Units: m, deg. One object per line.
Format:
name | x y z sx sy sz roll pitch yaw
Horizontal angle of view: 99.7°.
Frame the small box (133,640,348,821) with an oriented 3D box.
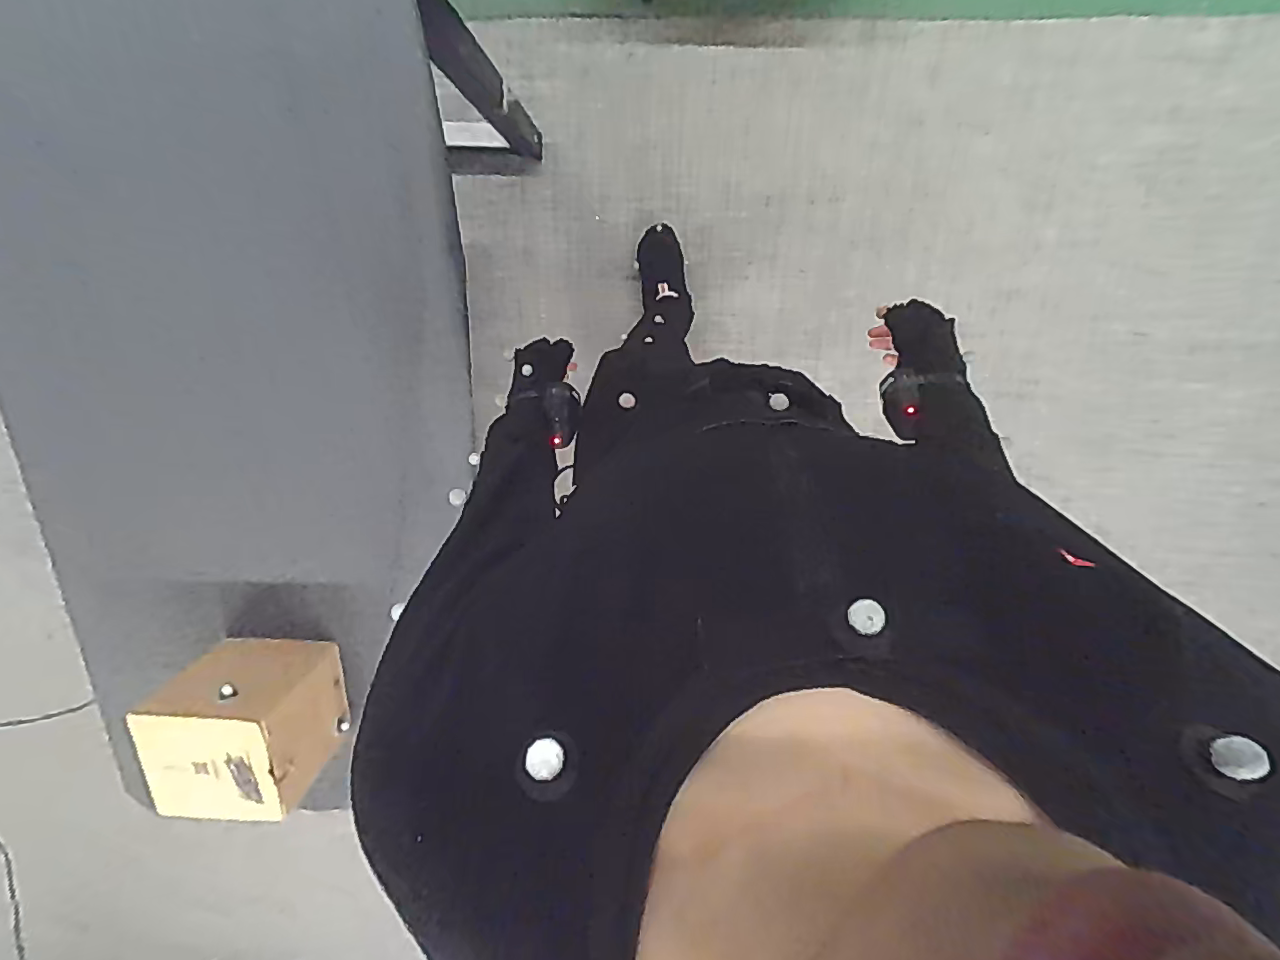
small box | -0.544 0.346 0.770 0.179 0.176 0.168 2 107 2
